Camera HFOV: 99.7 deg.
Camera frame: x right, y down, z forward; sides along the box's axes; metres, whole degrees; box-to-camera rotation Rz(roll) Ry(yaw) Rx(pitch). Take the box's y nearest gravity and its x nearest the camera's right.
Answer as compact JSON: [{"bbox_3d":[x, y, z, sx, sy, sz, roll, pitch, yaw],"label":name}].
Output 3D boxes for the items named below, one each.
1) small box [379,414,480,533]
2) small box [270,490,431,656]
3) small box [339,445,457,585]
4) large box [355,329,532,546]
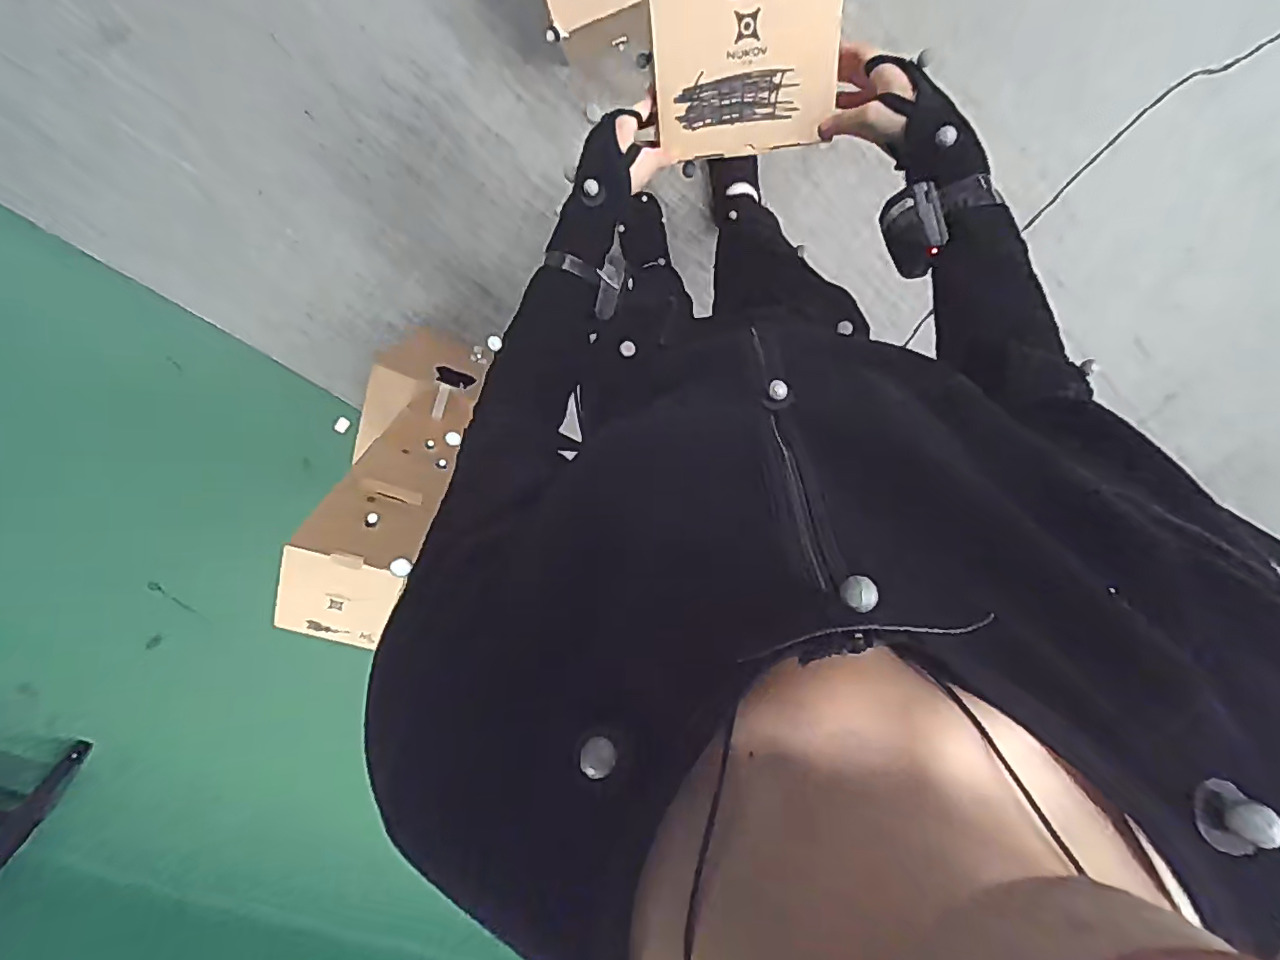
[{"bbox_3d":[-0.459,-0.019,1.153,0.179,0.176,0.168,21,117,-13],"label":"small box"},{"bbox_3d":[-0.453,0.143,0.868,0.168,0.176,0.179,20,116,-13],"label":"small box"},{"bbox_3d":[-0.455,0.059,1.009,0.168,0.176,0.179,19,118,-13],"label":"small box"},{"bbox_3d":[-0.495,-0.112,1.380,0.320,0.320,0.408,21,119,-12],"label":"large box"}]
